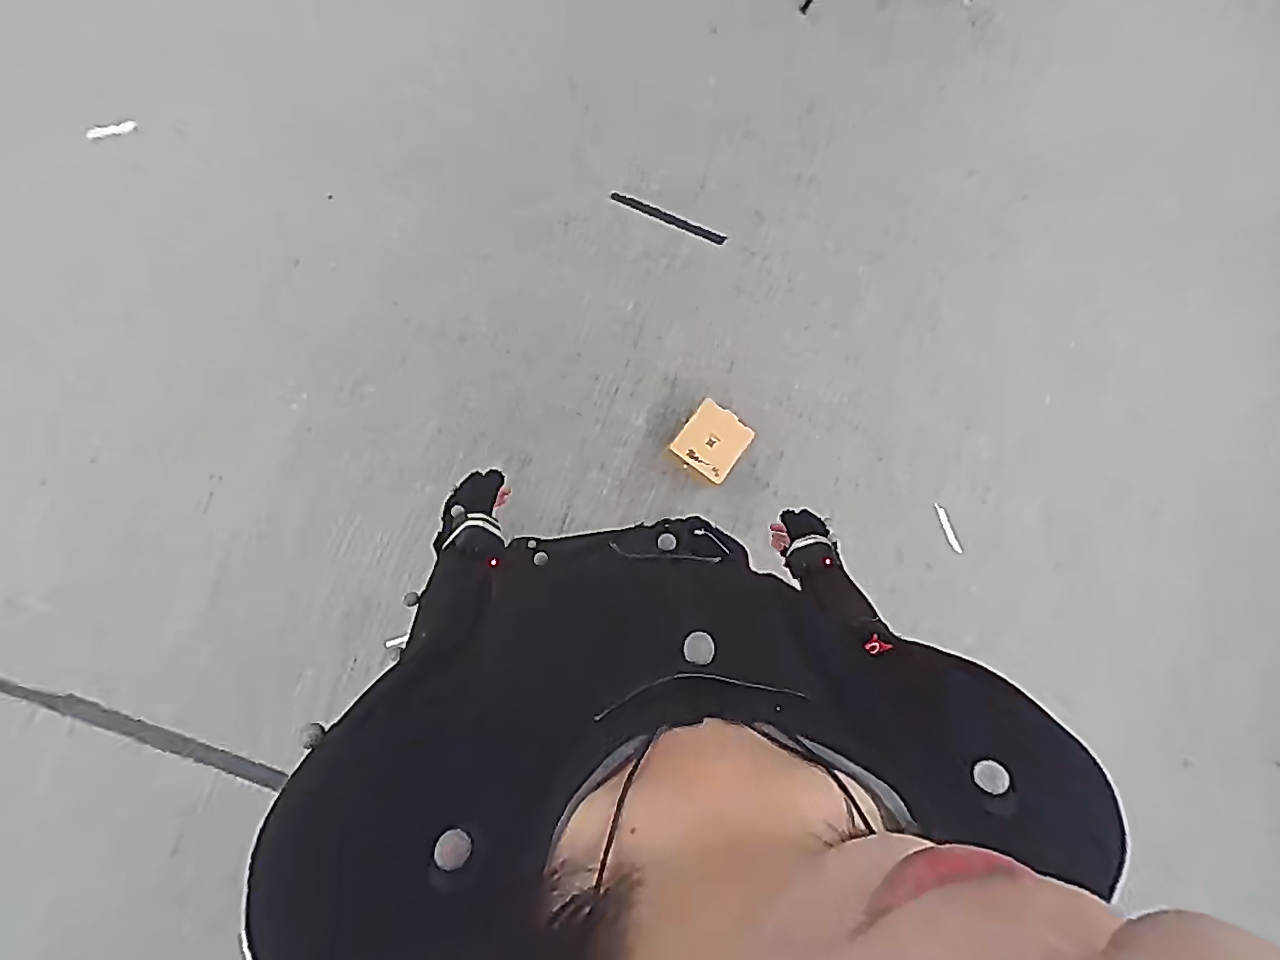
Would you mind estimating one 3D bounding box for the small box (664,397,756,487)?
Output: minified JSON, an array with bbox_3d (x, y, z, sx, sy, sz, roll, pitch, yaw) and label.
[{"bbox_3d":[0.183,-0.097,1.489,0.168,0.176,0.179,37,83,-3],"label":"small box"}]
